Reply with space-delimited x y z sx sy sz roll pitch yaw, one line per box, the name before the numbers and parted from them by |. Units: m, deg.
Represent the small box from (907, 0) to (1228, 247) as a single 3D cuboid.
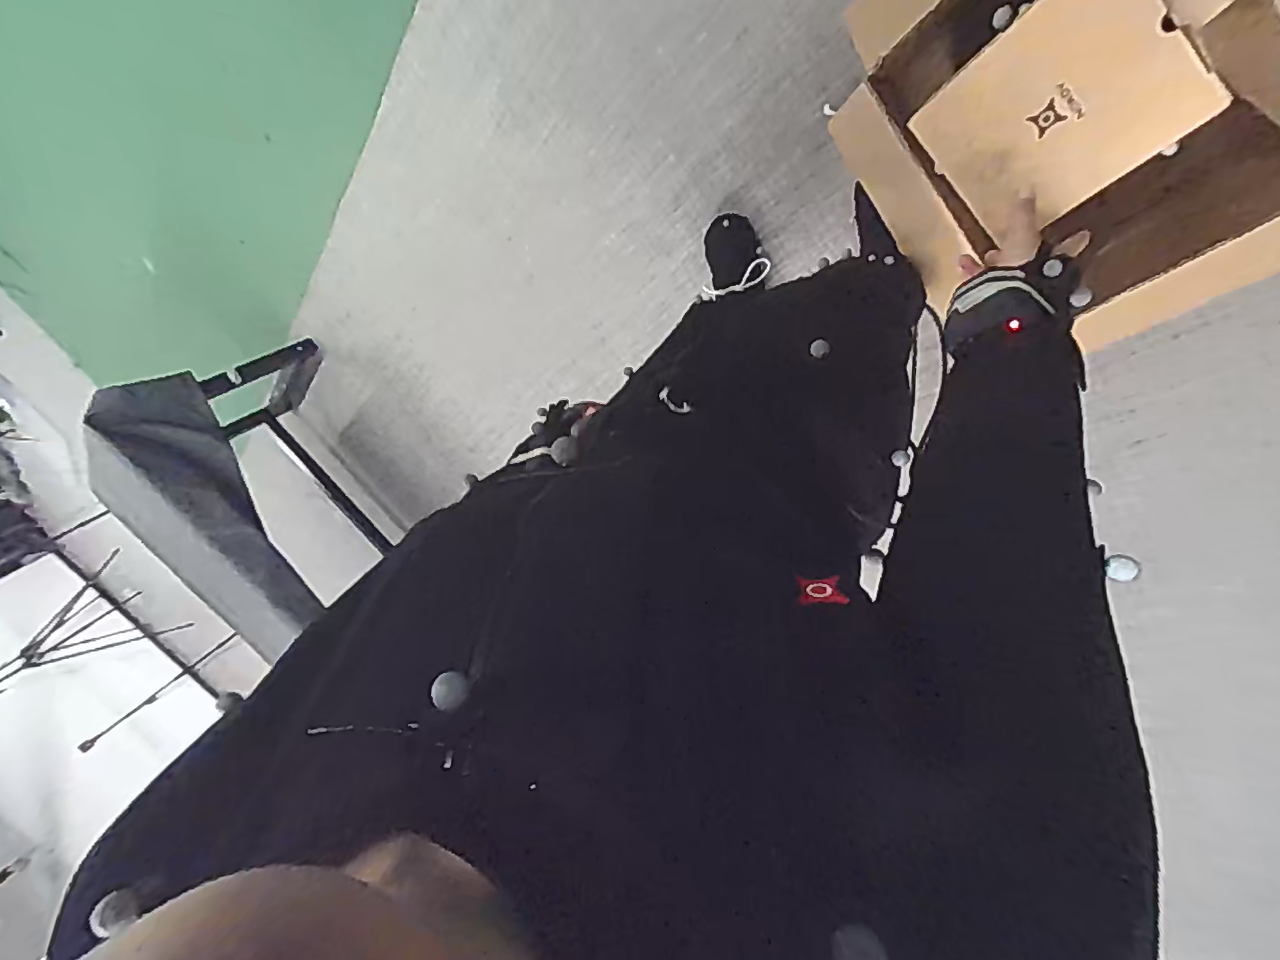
small box | 0.399 -0.370 0.528 0.168 0.176 0.179 47 136 -7
